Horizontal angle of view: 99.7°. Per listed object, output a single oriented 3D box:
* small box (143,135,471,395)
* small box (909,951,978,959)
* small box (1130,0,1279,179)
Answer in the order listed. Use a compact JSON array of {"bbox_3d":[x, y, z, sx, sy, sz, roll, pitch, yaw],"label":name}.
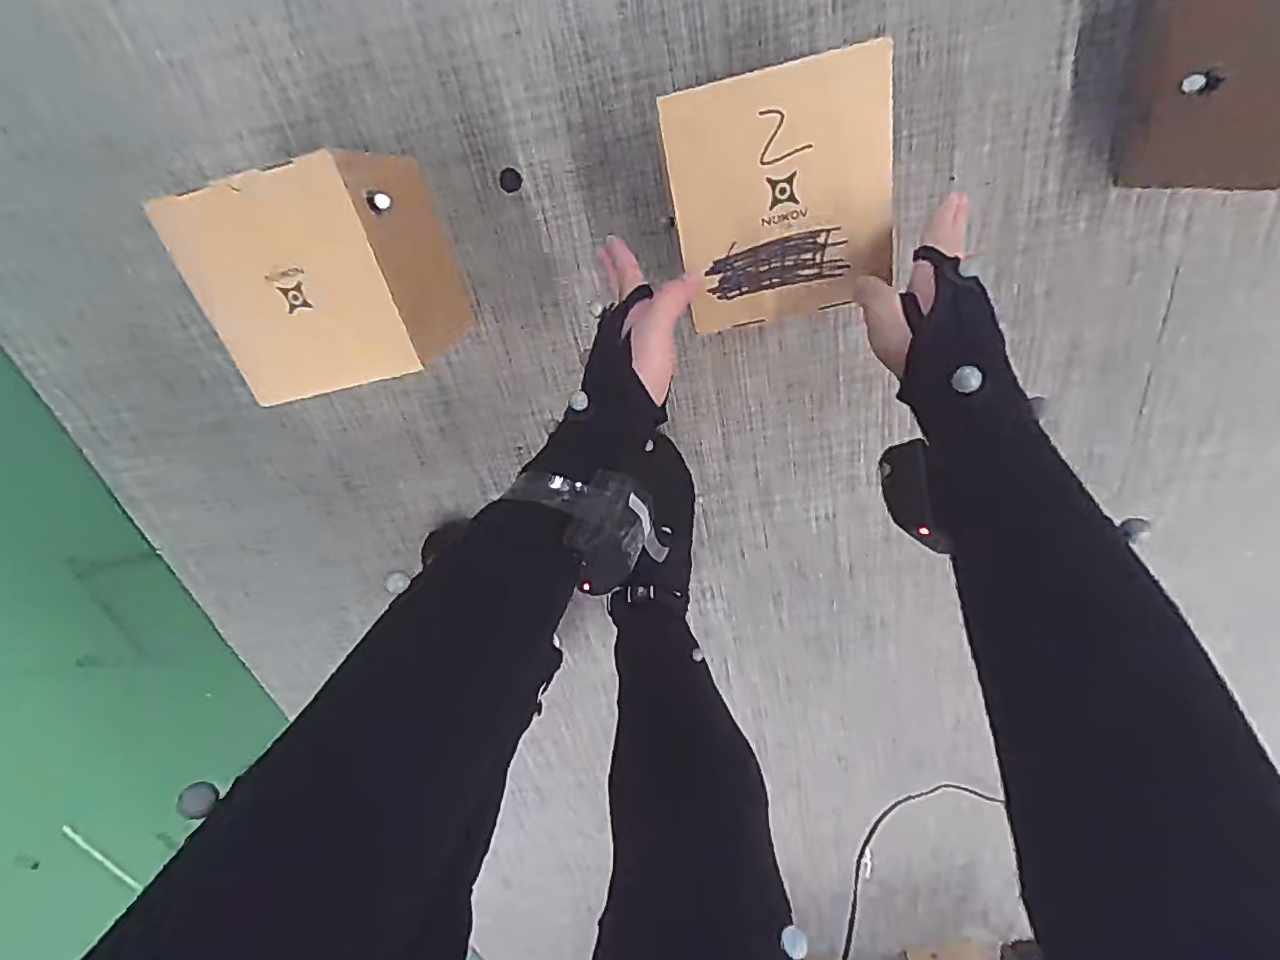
[{"bbox_3d":[-0.283,-0.202,0.513,0.168,0.176,0.179,-11,117,7],"label":"small box"},{"bbox_3d":[0.771,1.276,1.306,0.168,0.176,0.179,-18,117,10],"label":"small box"},{"bbox_3d":[0.552,-0.346,0.428,0.179,0.176,0.168,-10,118,6],"label":"small box"}]
